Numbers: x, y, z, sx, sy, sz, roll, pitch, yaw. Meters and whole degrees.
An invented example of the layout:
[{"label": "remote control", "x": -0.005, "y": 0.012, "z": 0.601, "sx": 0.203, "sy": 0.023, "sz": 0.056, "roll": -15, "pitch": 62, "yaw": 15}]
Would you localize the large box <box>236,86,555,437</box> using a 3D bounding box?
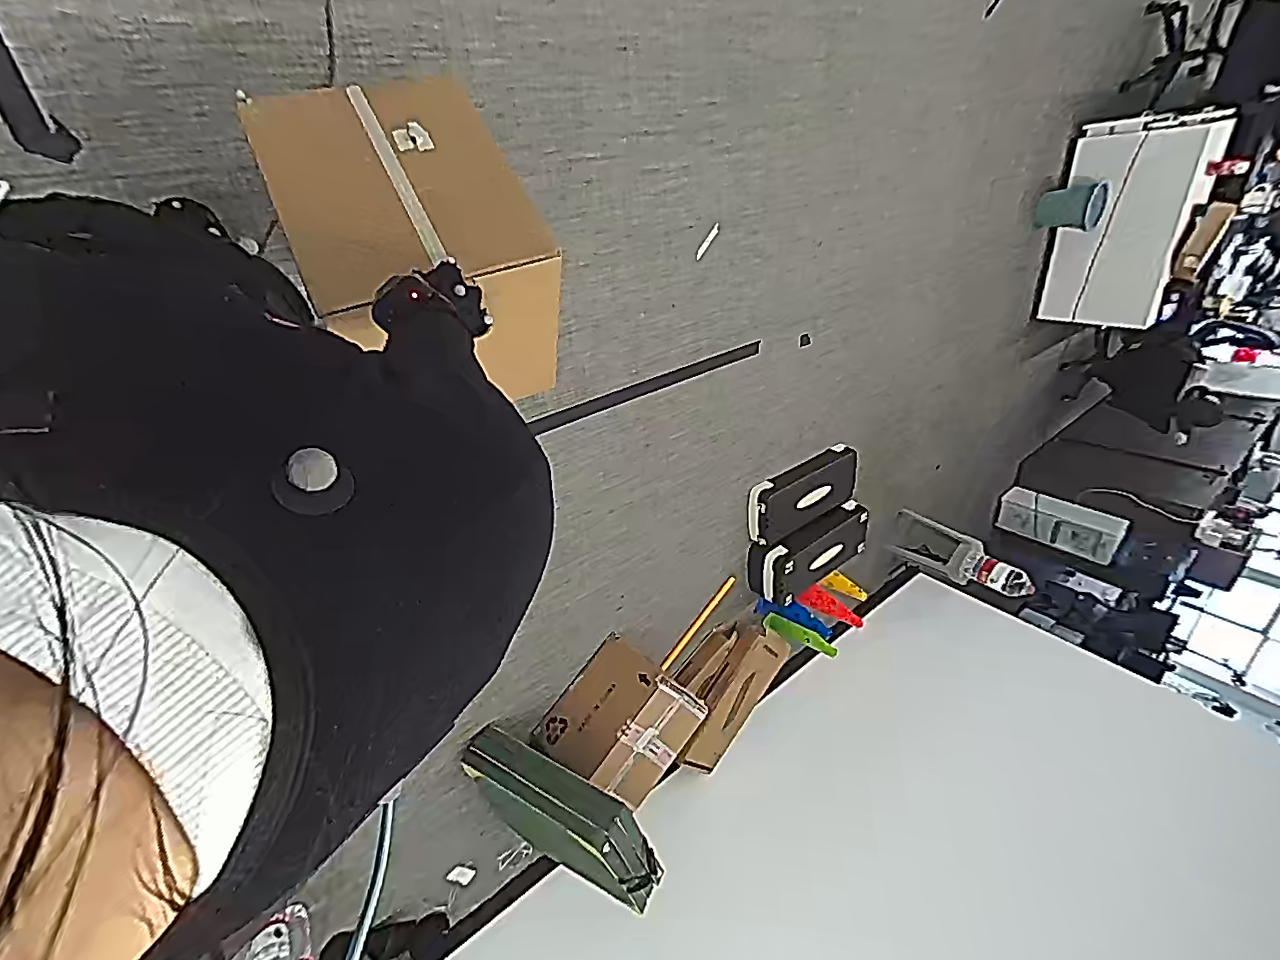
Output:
[{"label": "large box", "x": -0.366, "y": -0.347, "z": 0.886, "sx": 0.320, "sy": 0.408, "sz": 0.320, "roll": -24, "pitch": 161, "yaw": -21}]
